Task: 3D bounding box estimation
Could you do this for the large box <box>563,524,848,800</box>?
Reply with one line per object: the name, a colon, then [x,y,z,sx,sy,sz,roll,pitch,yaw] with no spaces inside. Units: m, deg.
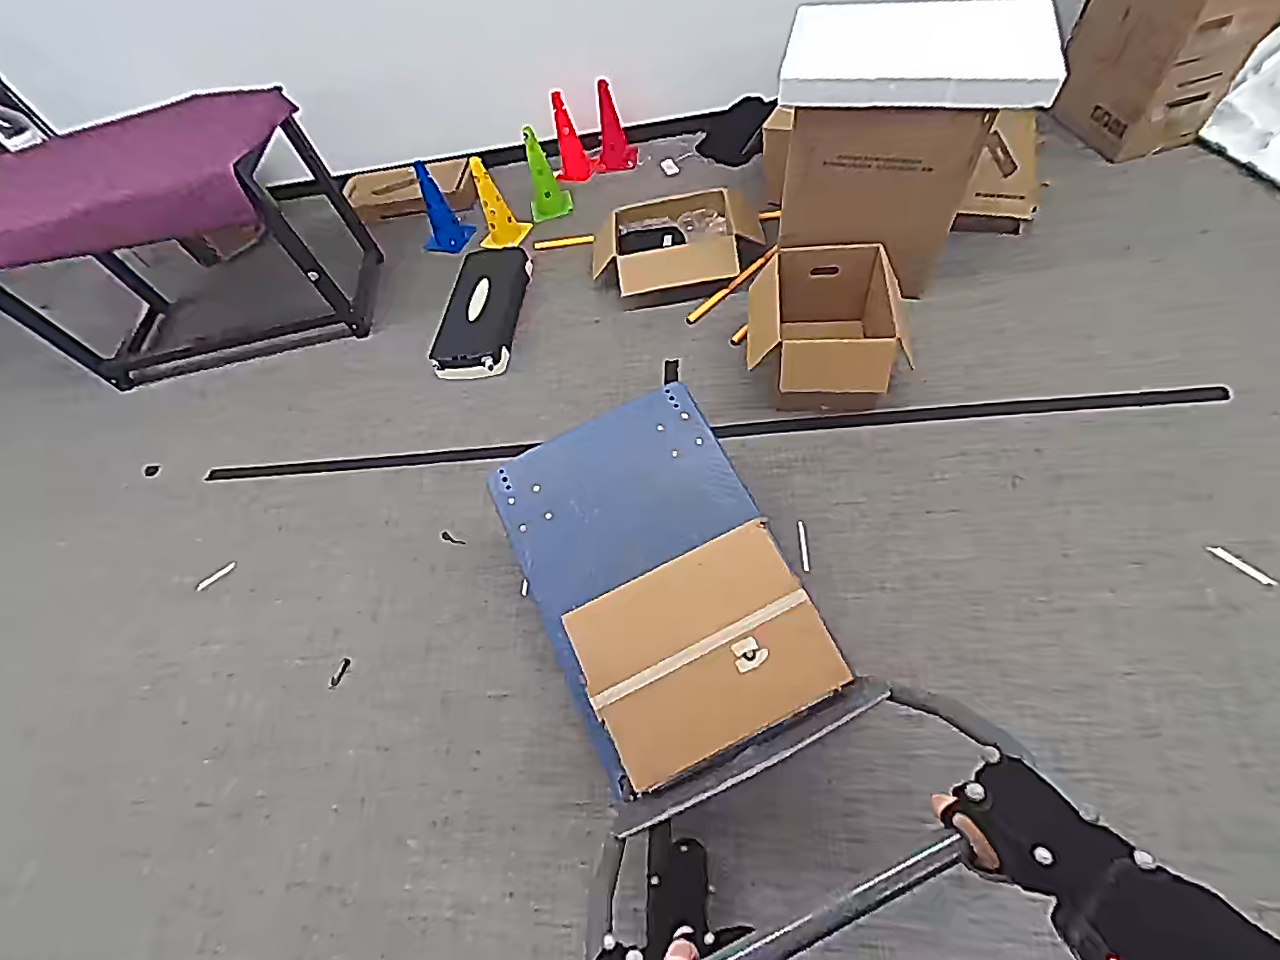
large box: [0.115,0.344,1.062,0.408,0.320,0.320,-27,72,-5]
